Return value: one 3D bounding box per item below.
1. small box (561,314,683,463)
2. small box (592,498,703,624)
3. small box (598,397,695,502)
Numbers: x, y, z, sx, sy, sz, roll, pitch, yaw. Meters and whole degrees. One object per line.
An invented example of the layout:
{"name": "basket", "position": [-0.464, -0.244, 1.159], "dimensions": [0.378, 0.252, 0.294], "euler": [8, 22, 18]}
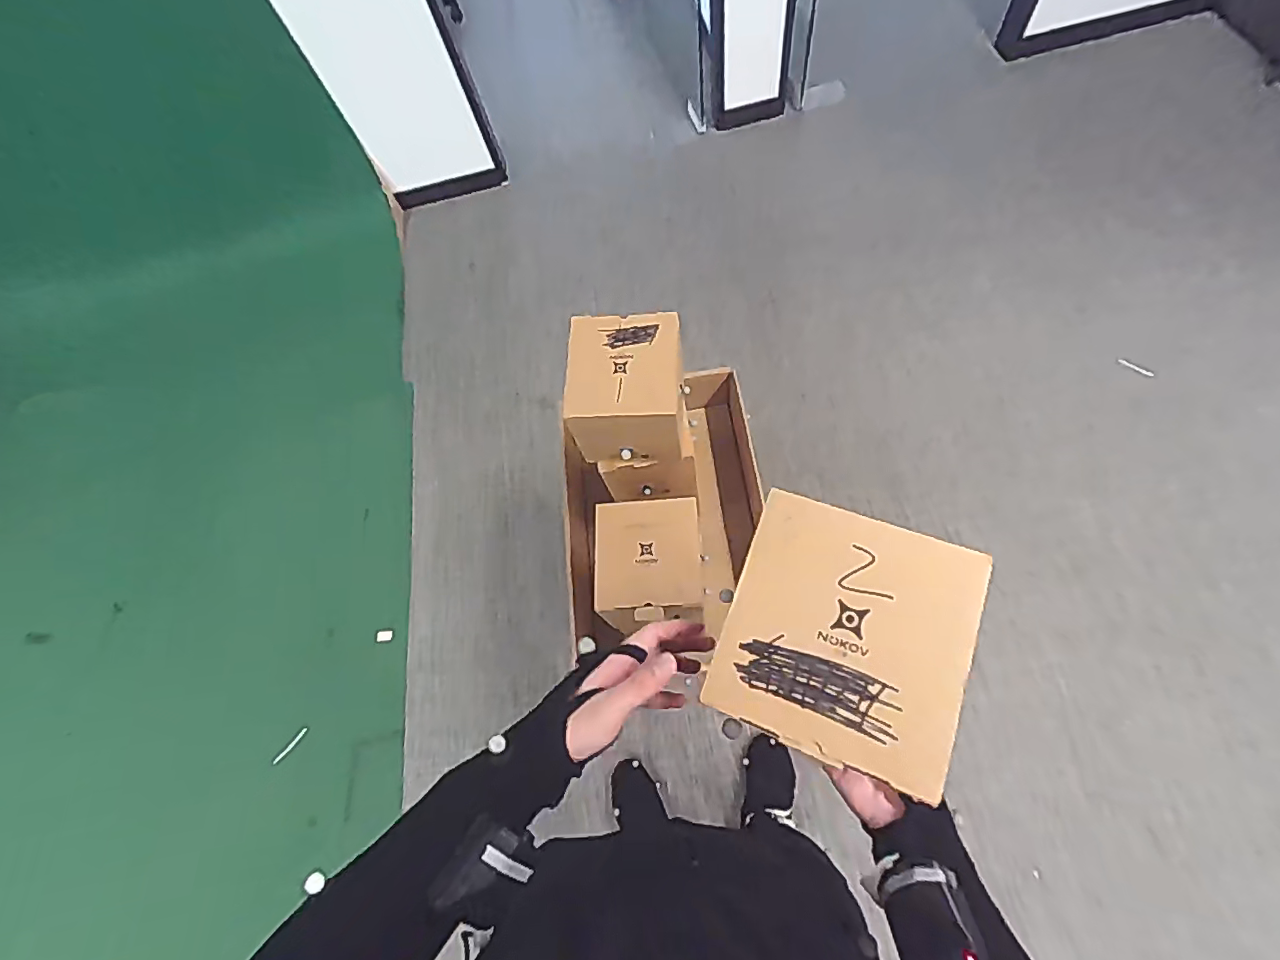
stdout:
{"name": "small box", "position": [-0.019, -0.141, 0.866], "dimensions": [0.168, 0.176, 0.179], "euler": [-1, 69, 8]}
{"name": "small box", "position": [0.019, 0.145, 0.911], "dimensions": [0.168, 0.176, 0.179], "euler": [-3, 65, 6]}
{"name": "small box", "position": [0.009, -0.075, 1.014], "dimensions": [0.168, 0.176, 0.179], "euler": [-10, 67, 4]}
